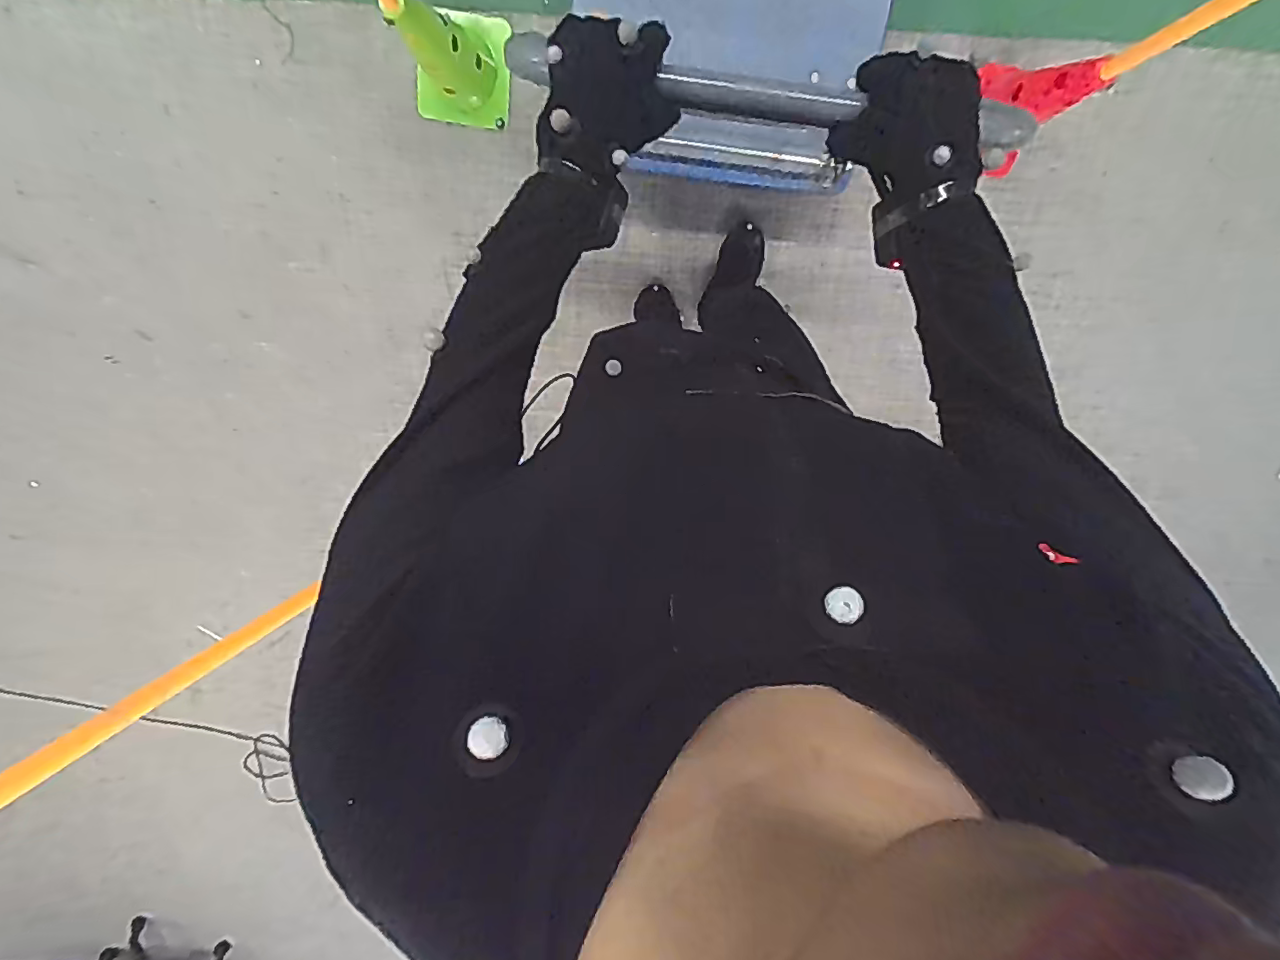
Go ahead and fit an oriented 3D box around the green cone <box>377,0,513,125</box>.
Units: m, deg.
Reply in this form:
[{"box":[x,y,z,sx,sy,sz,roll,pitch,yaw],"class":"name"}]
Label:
[{"box":[-0.383,-0.830,1.009,0.202,0.368,0.200,8,112,-1],"class":"green cone"}]
